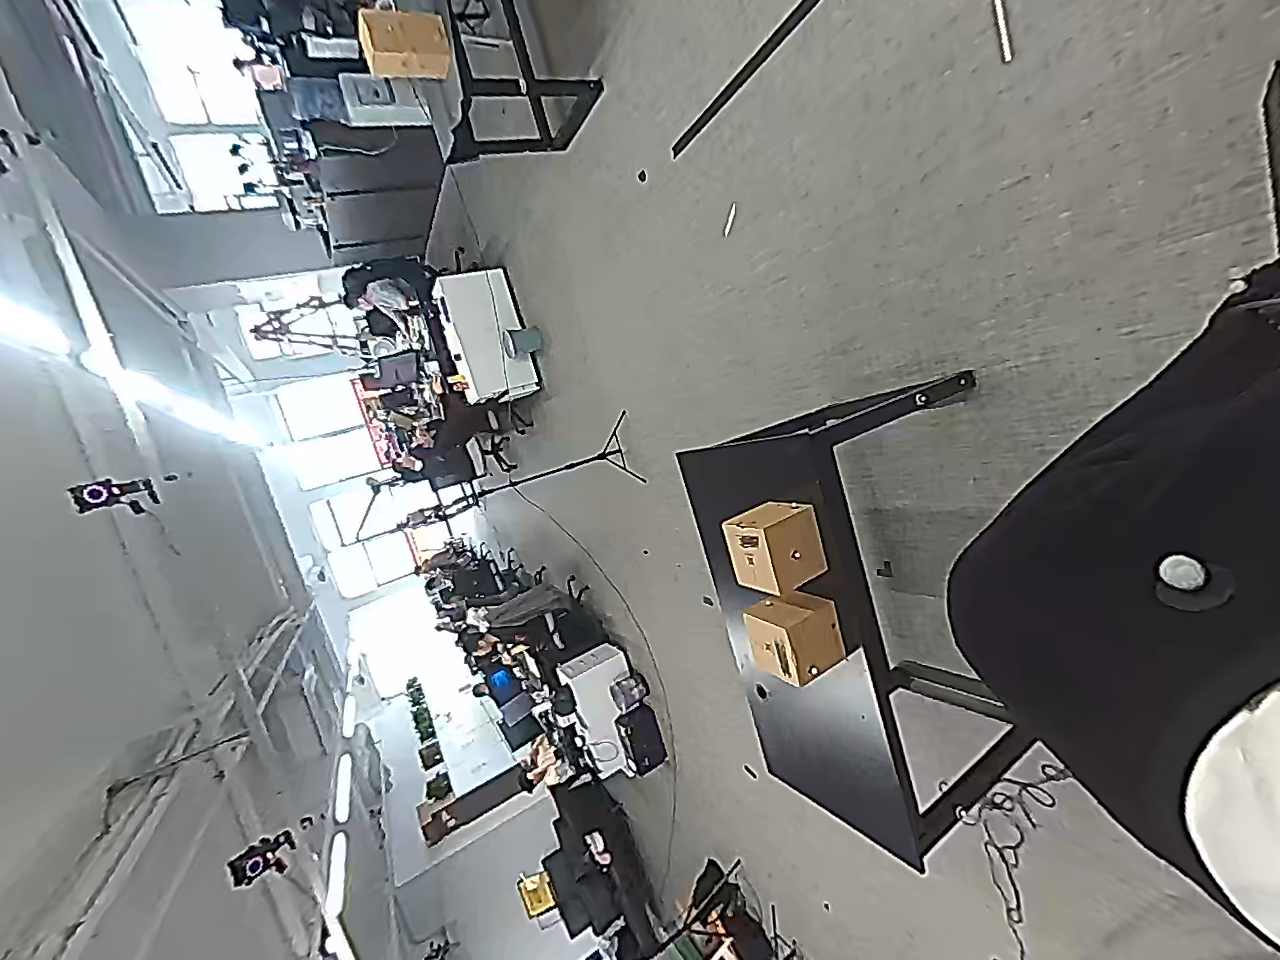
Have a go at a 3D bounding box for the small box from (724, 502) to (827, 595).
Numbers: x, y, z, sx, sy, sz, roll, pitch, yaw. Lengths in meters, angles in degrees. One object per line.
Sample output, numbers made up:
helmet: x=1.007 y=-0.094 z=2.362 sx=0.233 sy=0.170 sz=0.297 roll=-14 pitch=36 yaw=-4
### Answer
small box: x=0.345 y=0.165 z=1.373 sx=0.168 sy=0.176 sz=0.179 roll=1 pitch=111 yaw=63
